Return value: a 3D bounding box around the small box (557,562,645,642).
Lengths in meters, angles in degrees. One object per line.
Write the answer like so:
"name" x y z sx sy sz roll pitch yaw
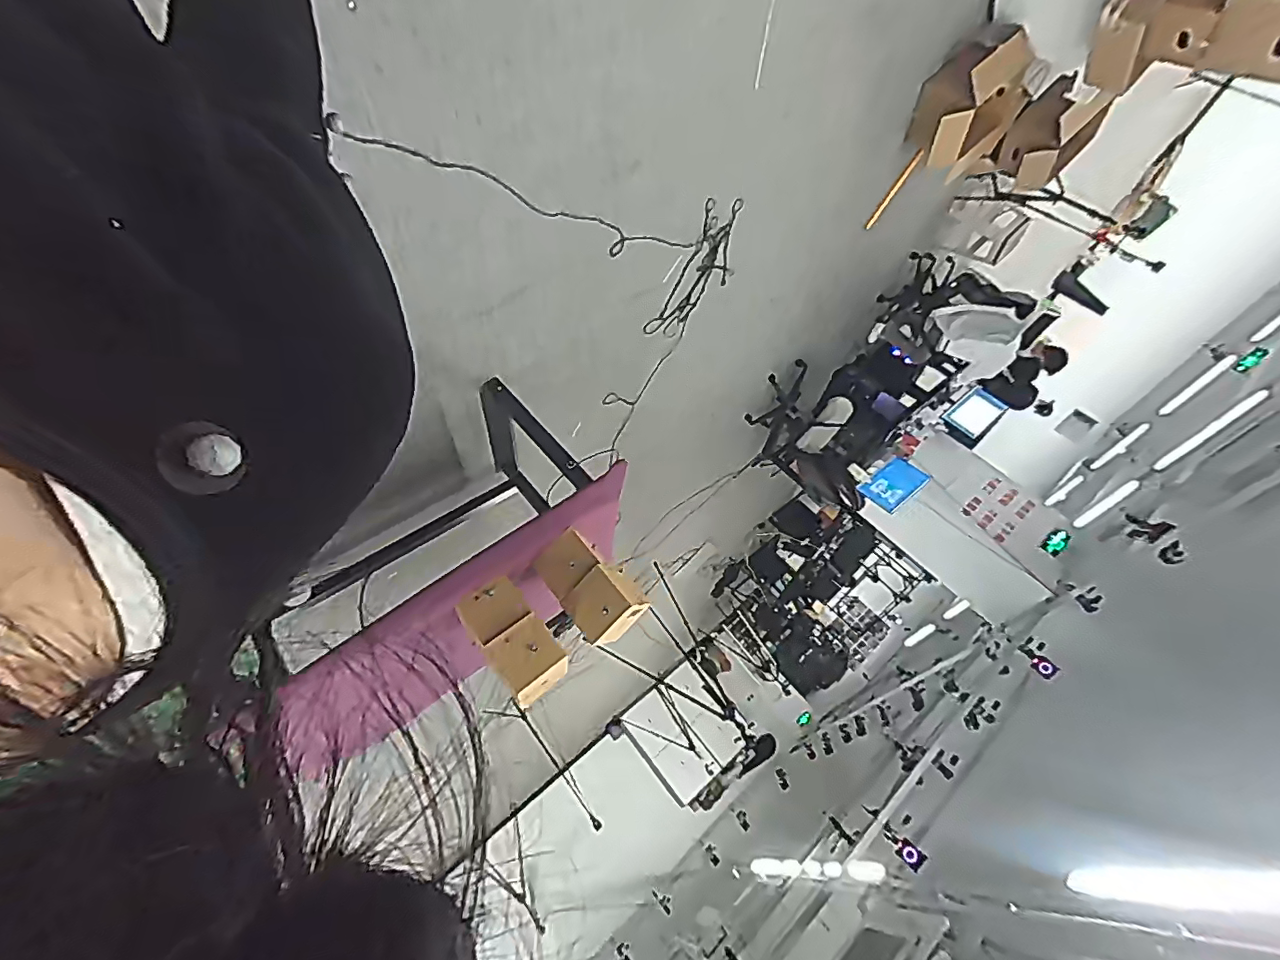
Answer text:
"small box" -0.121 0.370 1.663 0.179 0.176 0.168 -47 157 8

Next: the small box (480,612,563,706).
"small box" -0.336 0.501 1.534 0.168 0.176 0.179 -34 156 -28

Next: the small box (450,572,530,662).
"small box" -0.443 0.404 1.611 0.168 0.176 0.179 -33 155 -28

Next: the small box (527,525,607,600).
"small box" -0.230 0.272 1.739 0.179 0.176 0.168 -43 157 -4
